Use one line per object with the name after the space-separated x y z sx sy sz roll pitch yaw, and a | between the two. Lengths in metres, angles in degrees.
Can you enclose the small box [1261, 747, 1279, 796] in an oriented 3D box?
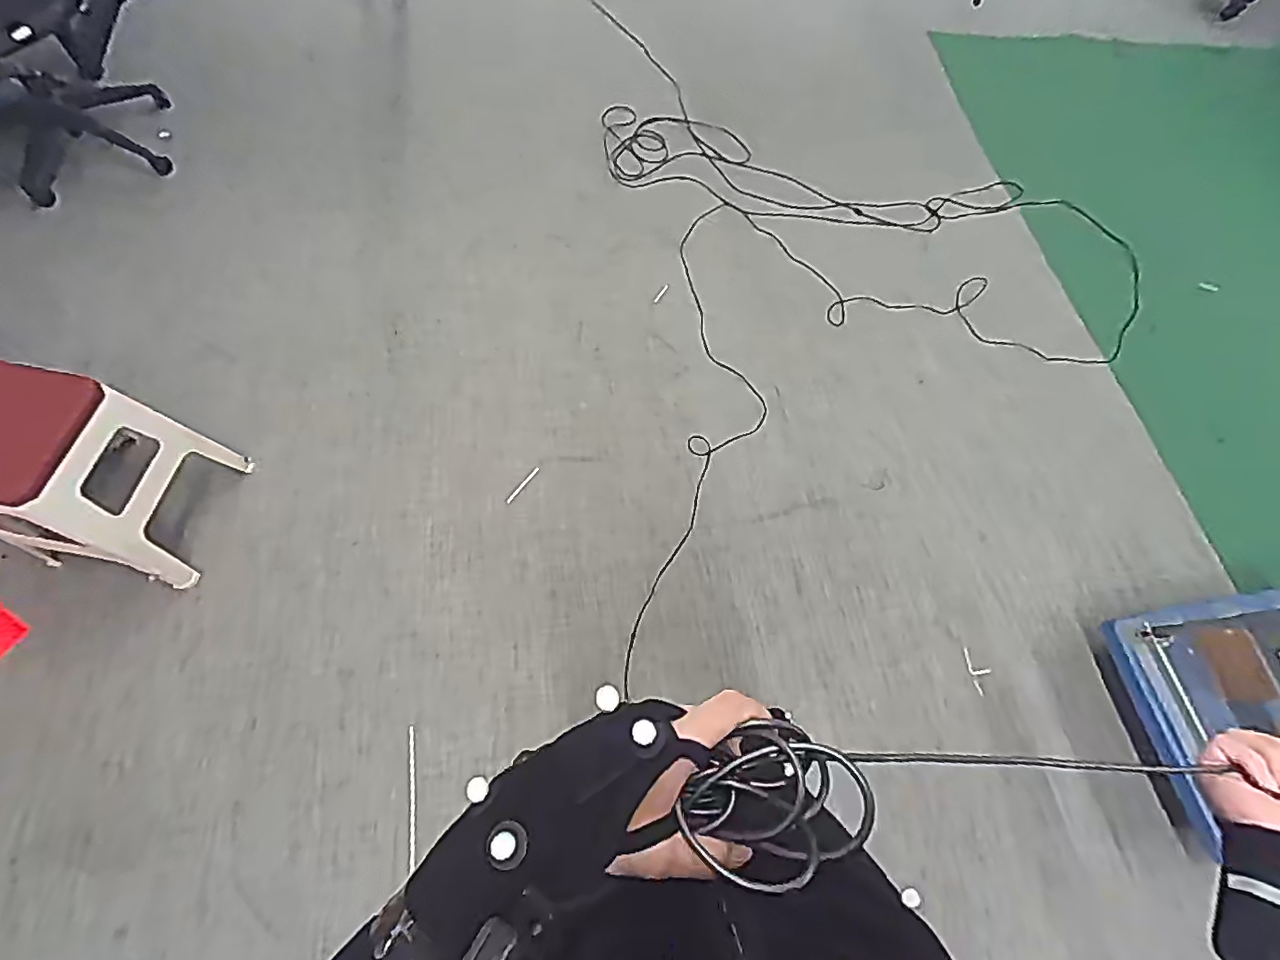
1.638 0.709 1.252 0.179 0.176 0.168 -6 67 -7 | small box
